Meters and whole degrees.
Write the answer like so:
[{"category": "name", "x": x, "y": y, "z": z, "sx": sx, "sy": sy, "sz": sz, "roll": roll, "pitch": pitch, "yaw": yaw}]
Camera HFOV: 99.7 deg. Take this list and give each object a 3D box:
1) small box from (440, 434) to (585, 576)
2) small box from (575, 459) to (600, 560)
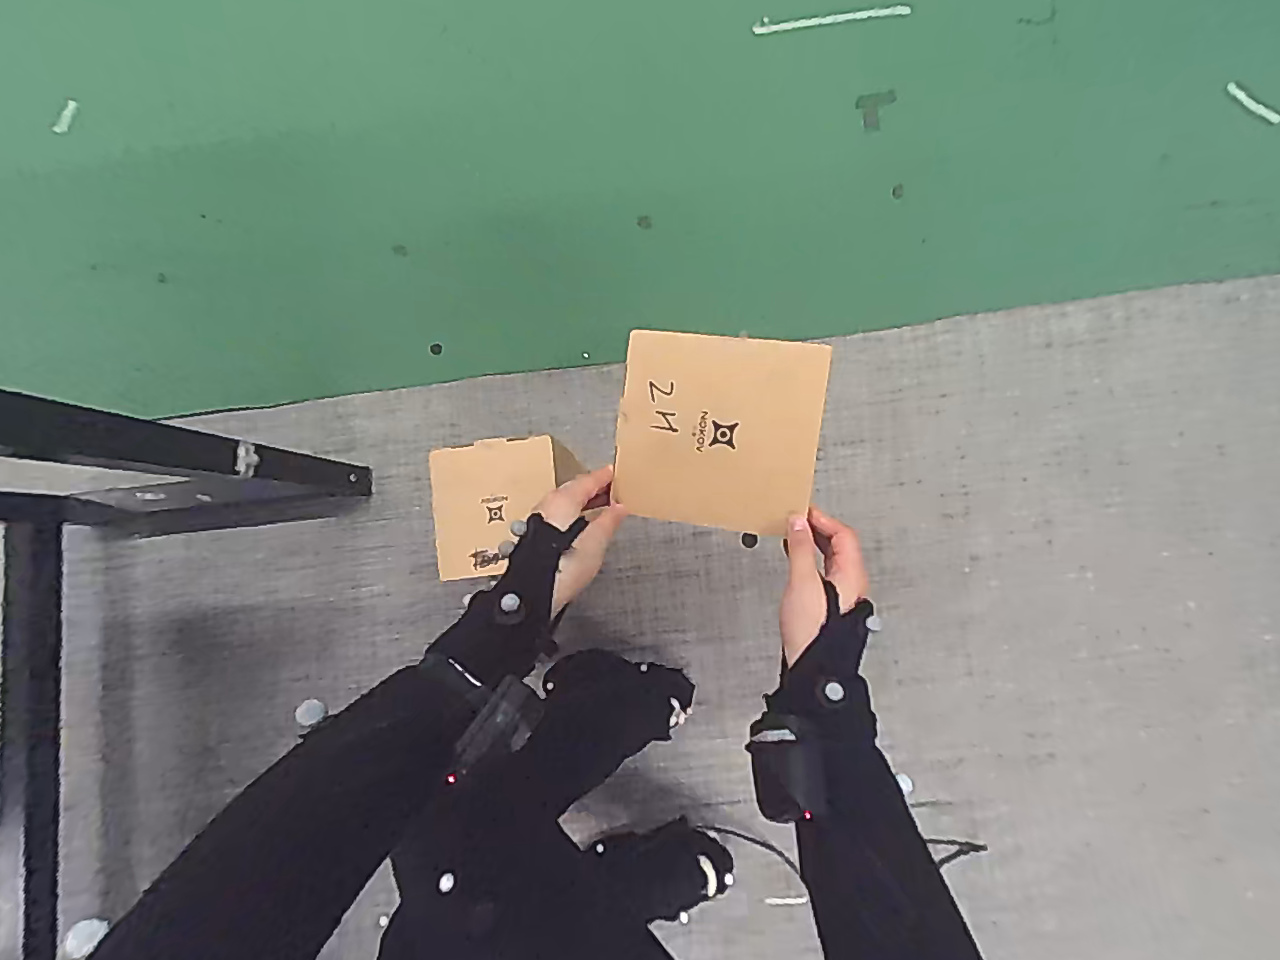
[{"category": "small box", "x": -0.174, "y": 0.041, "z": 0.778, "sx": 0.168, "sy": 0.176, "sz": 0.179, "roll": -6, "pitch": 83, "yaw": 1}, {"category": "small box", "x": -0.169, "y": 0.062, "z": 0.942, "sx": 0.179, "sy": 0.176, "sz": 0.168, "roll": -8, "pitch": 84, "yaw": 3}]
